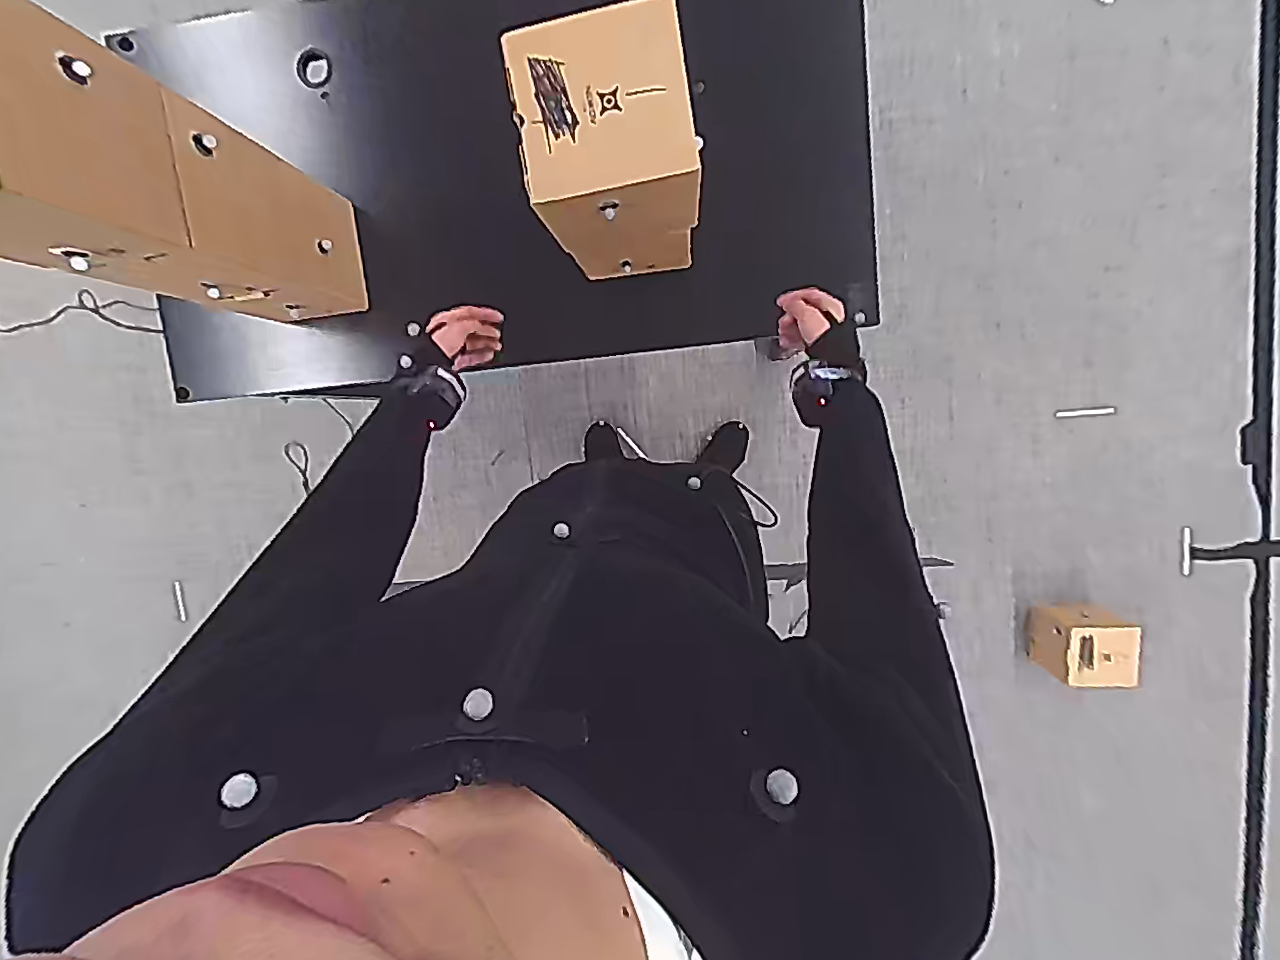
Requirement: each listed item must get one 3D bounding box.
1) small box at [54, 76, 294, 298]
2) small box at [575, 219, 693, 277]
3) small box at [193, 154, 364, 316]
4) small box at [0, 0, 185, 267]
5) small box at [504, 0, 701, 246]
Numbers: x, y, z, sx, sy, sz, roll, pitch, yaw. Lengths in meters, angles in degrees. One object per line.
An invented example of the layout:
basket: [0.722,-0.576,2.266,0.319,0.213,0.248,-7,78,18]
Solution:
small box: [-0.561,-0.335,0.654,0.168,0.176,0.179,-6,97,6]
small box: [-0.015,-0.406,0.765,0.168,0.176,0.179,-5,97,6]
small box: [-0.547,-0.353,0.817,0.168,0.176,0.179,-7,97,5]
small box: [-0.574,-0.314,0.493,0.168,0.176,0.179,-6,97,7]
small box: [-0.029,-0.379,0.603,0.179,0.176,0.168,-9,97,5]
